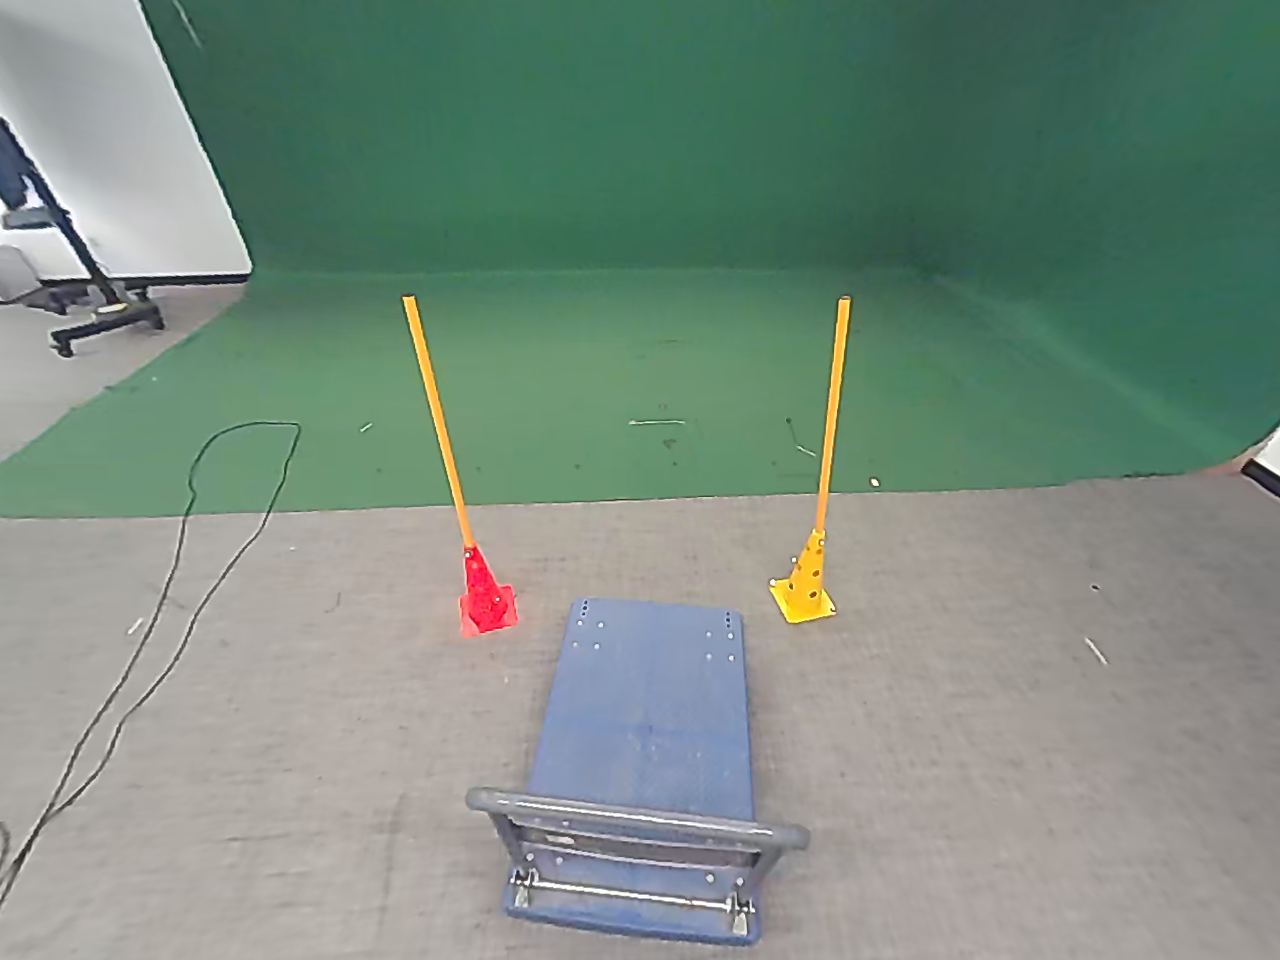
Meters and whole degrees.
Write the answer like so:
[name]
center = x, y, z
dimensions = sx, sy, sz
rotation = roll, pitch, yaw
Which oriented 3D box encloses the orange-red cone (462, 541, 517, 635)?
[orange-red cone]
center = -0.572, 0.355, 1.920
dimensions = 0.199, 0.360, 0.198
rotation = -12, 40, -12
